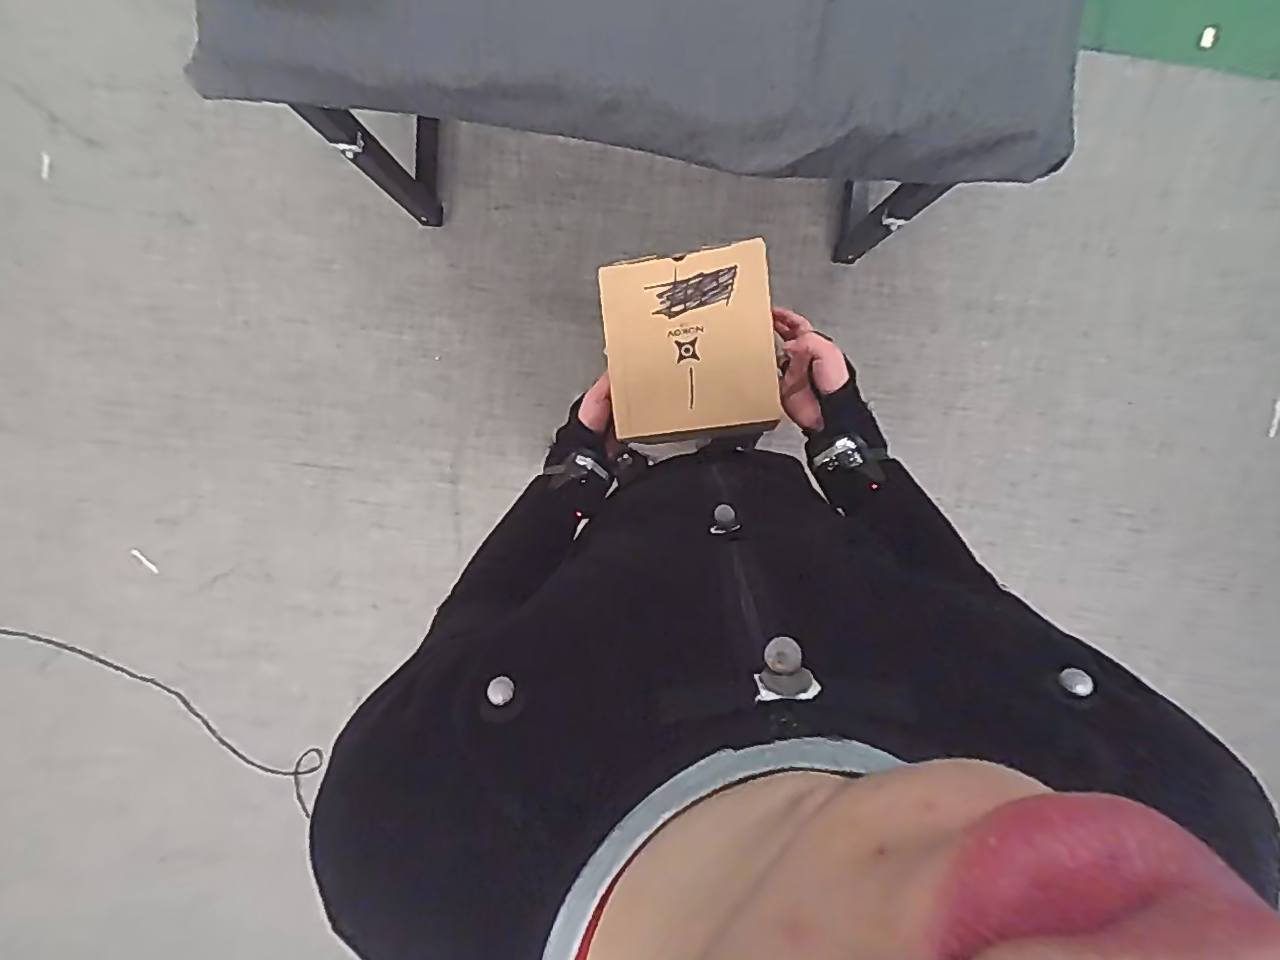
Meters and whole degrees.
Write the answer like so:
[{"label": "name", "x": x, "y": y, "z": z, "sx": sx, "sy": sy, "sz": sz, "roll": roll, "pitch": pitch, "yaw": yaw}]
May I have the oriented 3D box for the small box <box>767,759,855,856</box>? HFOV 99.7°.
[{"label": "small box", "x": 0.504, "y": 0.969, "z": 1.615, "sx": 0.179, "sy": 0.176, "sz": 0.168, "roll": 18, "pitch": 95, "yaw": -2}]
